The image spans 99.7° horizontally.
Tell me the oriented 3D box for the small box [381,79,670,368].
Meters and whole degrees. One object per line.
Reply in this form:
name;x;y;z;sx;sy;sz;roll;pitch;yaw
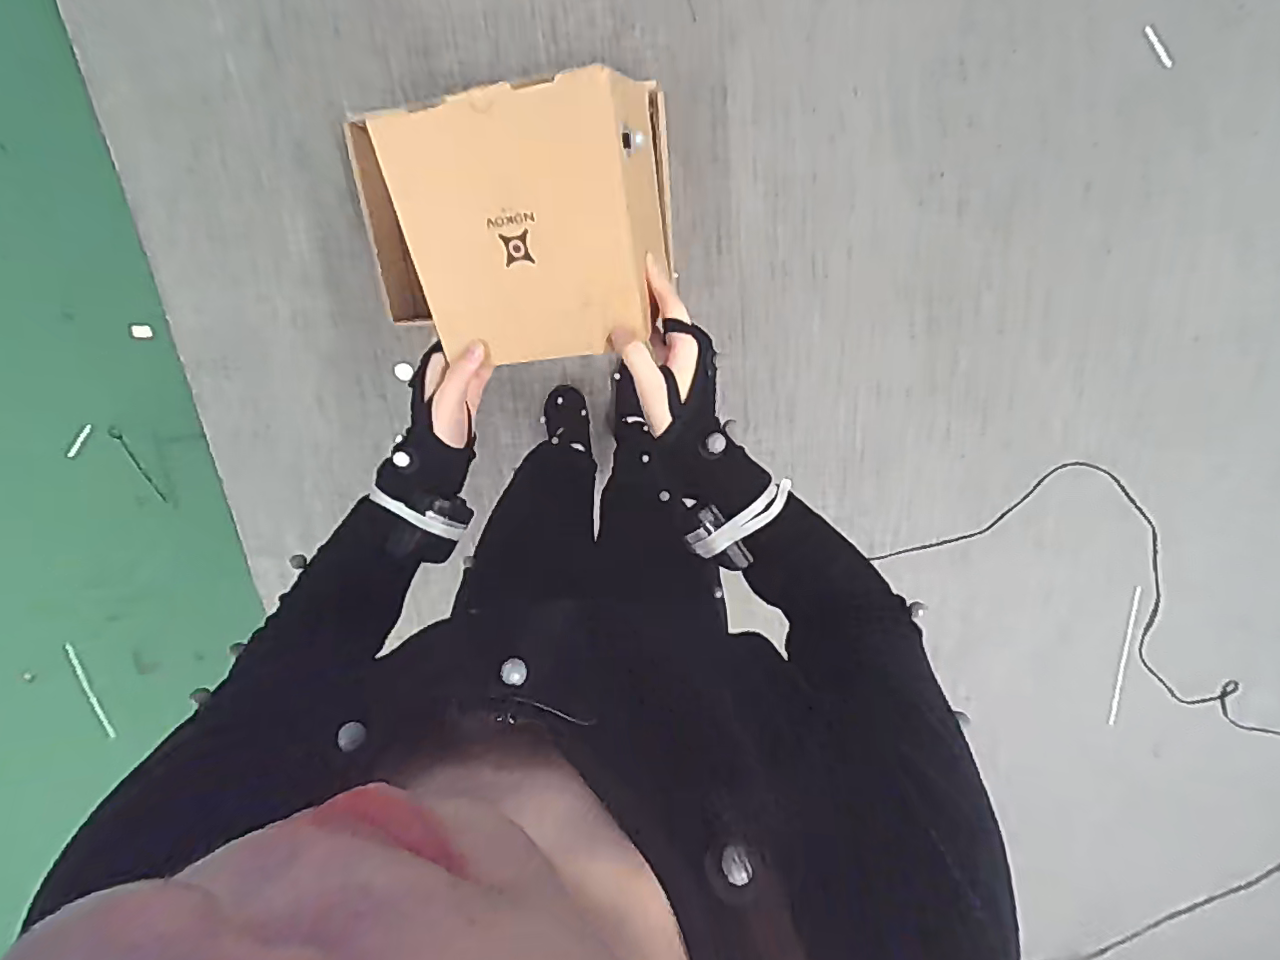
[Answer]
small box;-0.072;-0.212;0.460;0.168;0.176;0.179;-4;120;13
